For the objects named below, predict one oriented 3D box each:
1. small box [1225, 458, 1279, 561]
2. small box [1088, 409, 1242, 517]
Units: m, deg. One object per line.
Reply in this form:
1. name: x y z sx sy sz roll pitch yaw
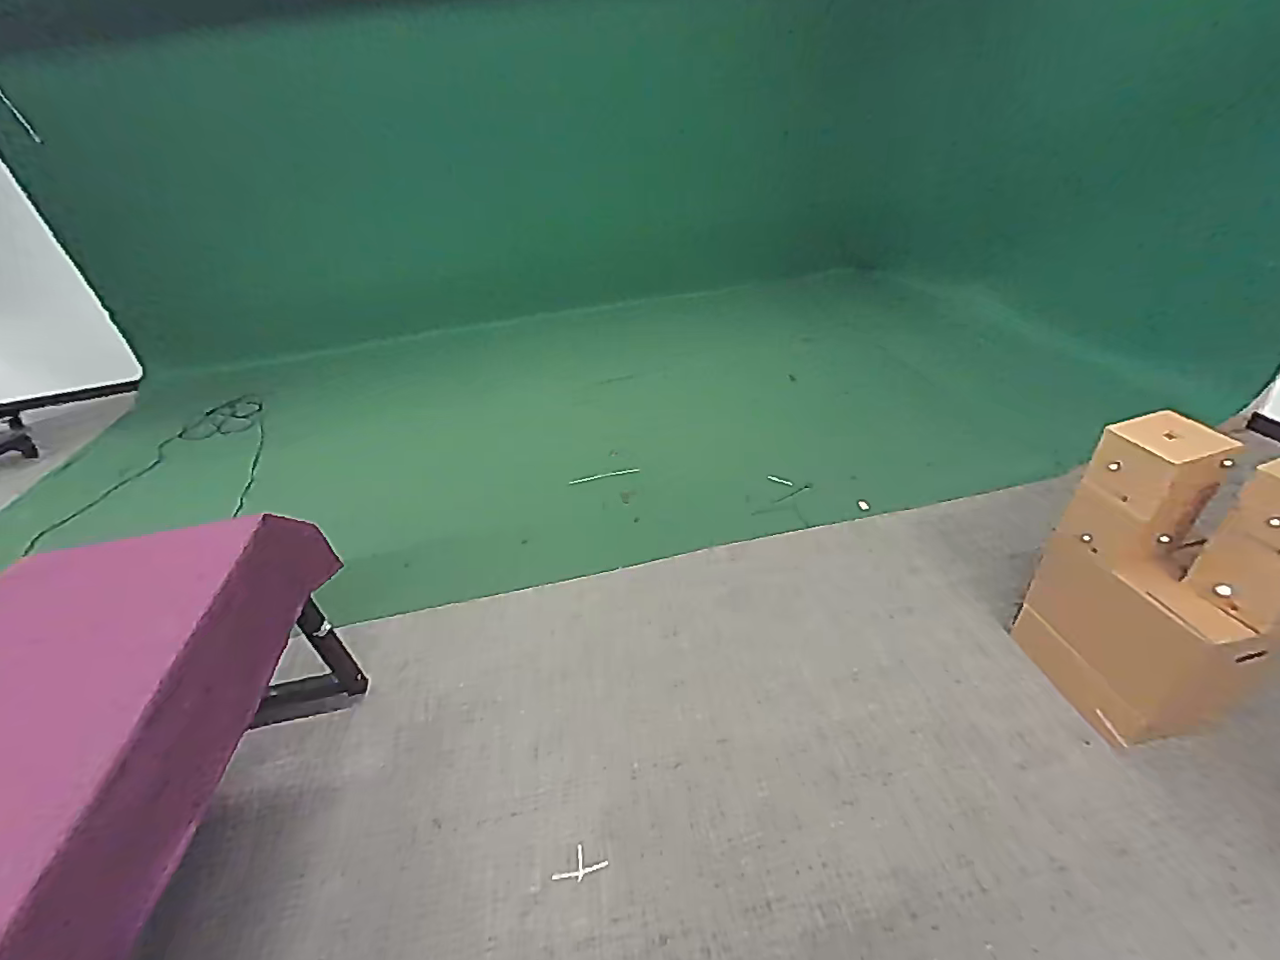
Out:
1. small box: 1.349 0.061 1.083 0.179 0.176 0.168 -14 36 -10
2. small box: 1.189 -0.037 1.247 0.179 0.176 0.168 -15 38 -7
